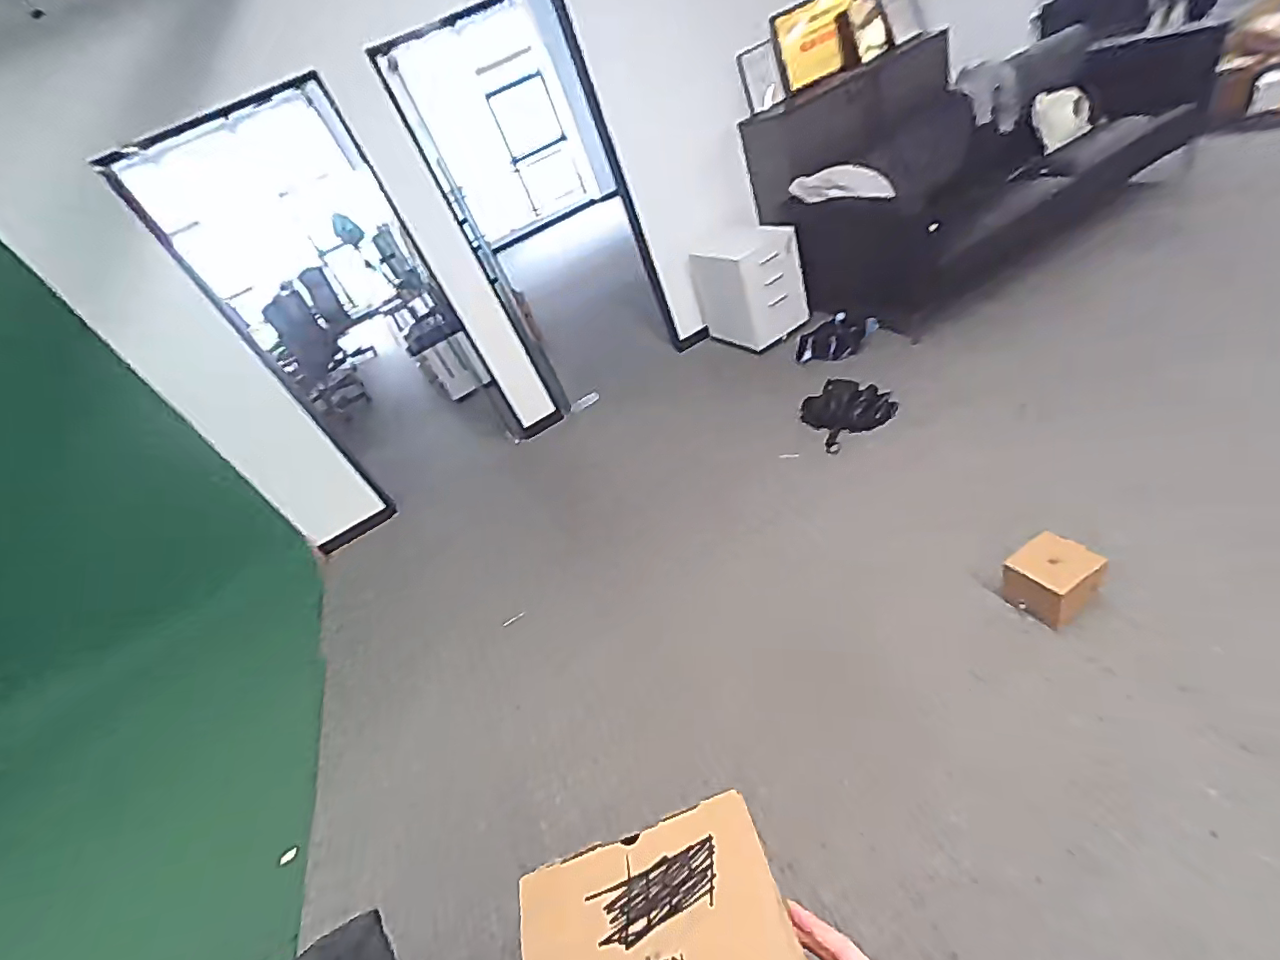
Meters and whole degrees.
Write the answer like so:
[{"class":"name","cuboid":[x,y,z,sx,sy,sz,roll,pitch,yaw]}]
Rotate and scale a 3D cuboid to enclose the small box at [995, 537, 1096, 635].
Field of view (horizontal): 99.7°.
[{"class":"small box","cuboid":[1.146,0.301,1.542,0.179,0.176,0.168,-32,35,-10]}]
